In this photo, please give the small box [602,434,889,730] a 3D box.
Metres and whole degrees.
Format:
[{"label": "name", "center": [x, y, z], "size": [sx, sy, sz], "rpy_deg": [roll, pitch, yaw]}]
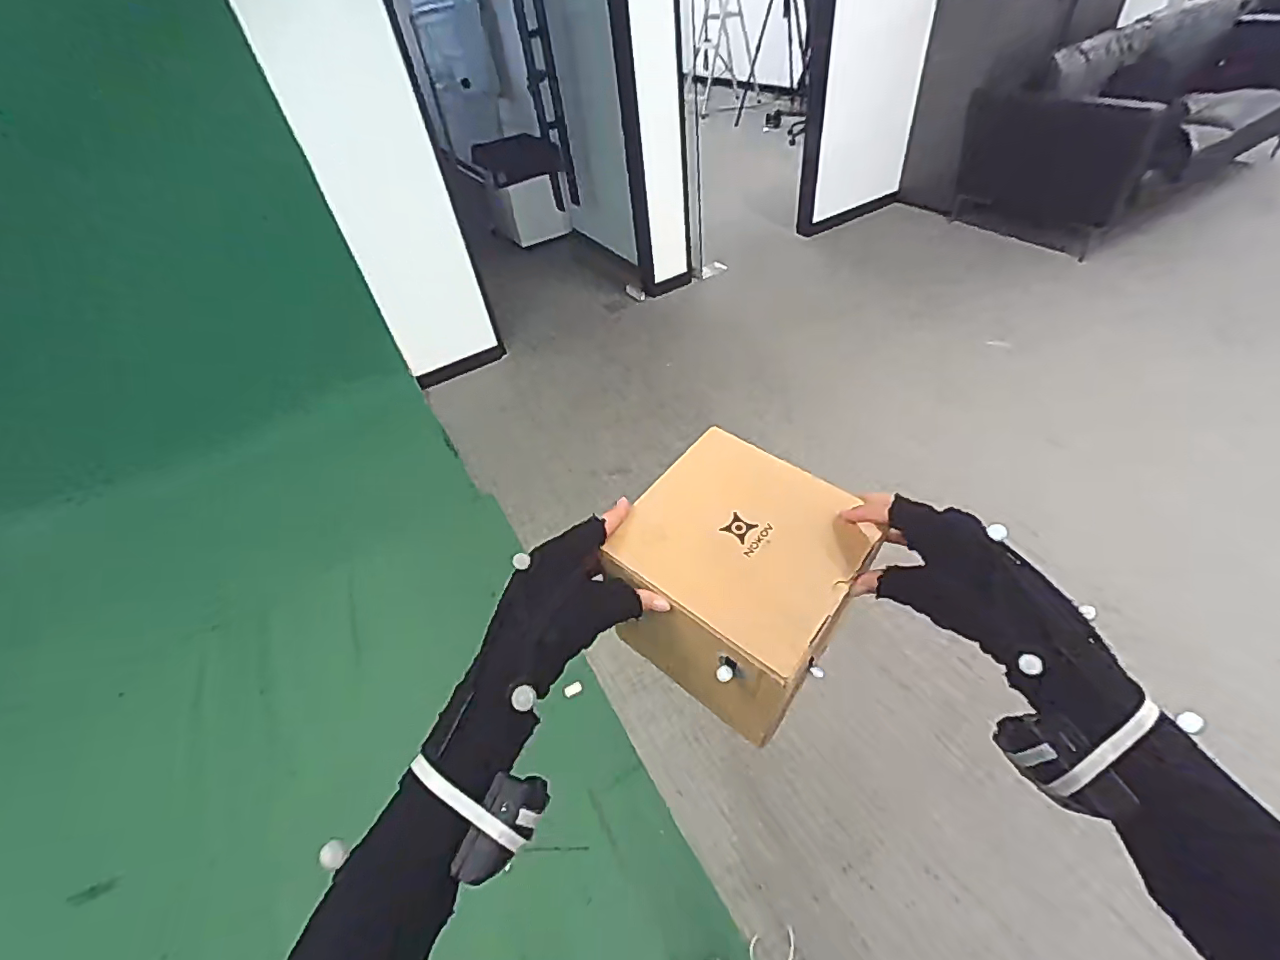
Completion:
[{"label": "small box", "center": [0.089, 0.095, 0.497], "size": [0.179, 0.176, 0.168], "rpy_deg": [31, 59, 27]}]
